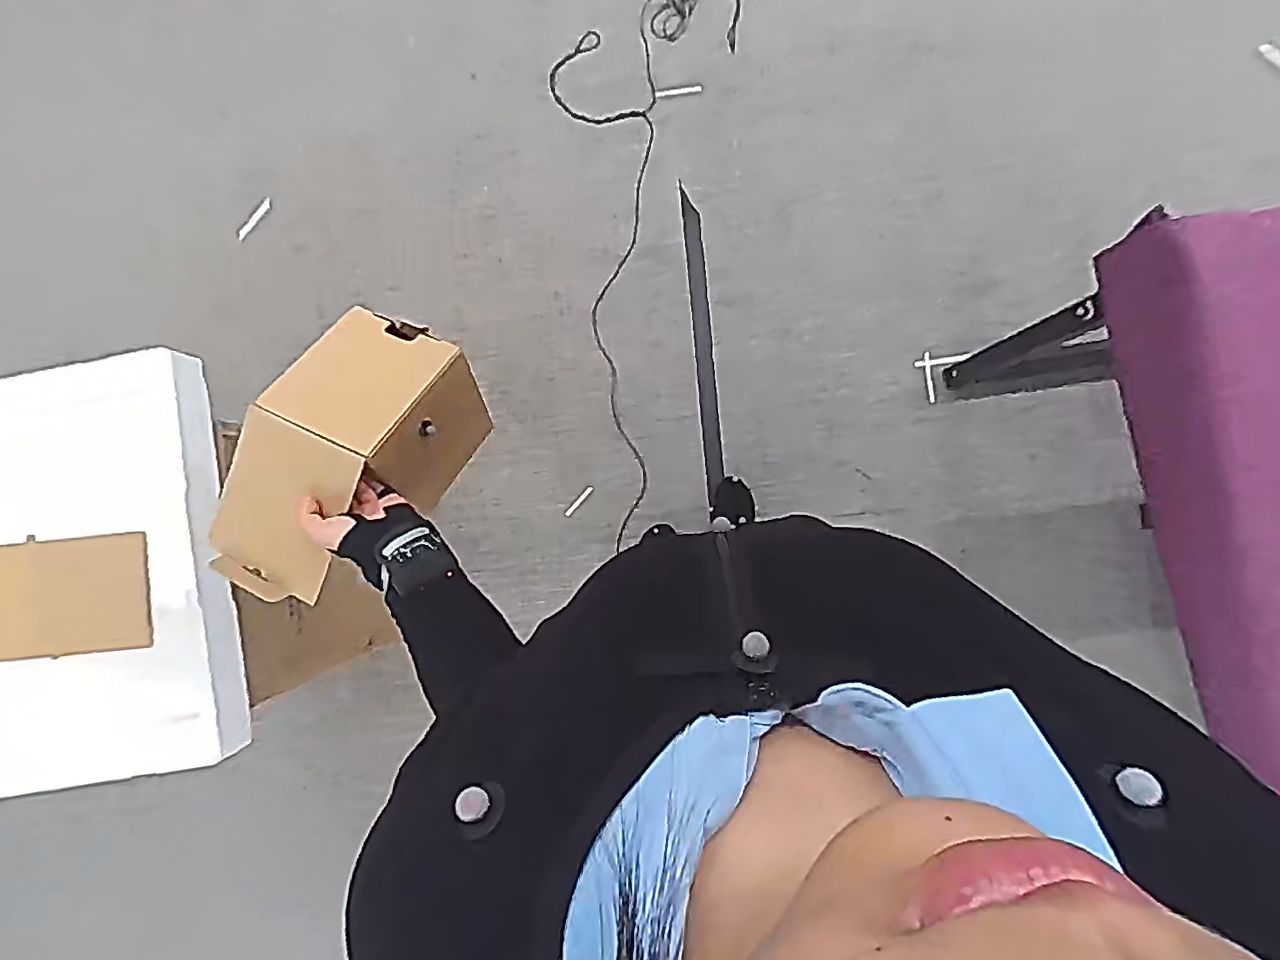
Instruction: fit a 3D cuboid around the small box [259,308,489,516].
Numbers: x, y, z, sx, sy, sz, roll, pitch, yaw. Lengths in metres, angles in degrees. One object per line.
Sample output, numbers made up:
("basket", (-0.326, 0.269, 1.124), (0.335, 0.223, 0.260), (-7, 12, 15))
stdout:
("small box", (-0.319, -0.079, 0.695), (0.168, 0.176, 0.179), (23, 64, 12))
